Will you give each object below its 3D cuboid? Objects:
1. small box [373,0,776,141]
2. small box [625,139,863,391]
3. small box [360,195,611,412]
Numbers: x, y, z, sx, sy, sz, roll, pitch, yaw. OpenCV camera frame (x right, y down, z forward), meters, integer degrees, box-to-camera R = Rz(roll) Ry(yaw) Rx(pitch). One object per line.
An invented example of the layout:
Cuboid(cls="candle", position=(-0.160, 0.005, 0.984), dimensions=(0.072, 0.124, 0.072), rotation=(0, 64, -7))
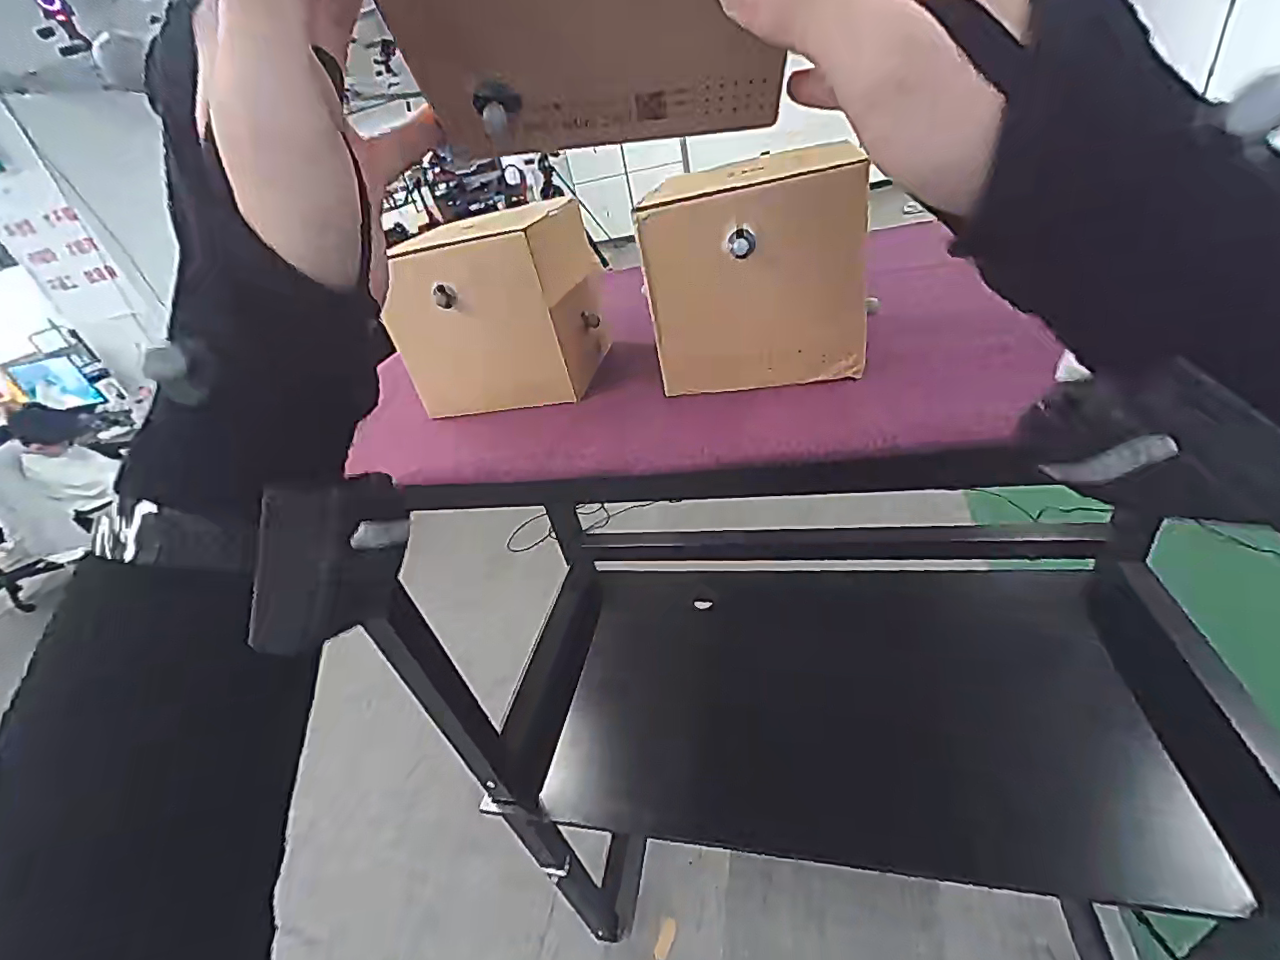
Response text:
Cuboid(cls="small box", position=(-0.029, -0.273, 0.224), dimensions=(0.168, 0.176, 0.179), rotation=(-3, 74, 6))
Cuboid(cls="small box", position=(0.105, -0.192, 0.498), dimensions=(0.179, 0.176, 0.168), rotation=(-3, 35, 18))
Cuboid(cls="small box", position=(-0.148, -0.185, 0.585), dimensions=(0.179, 0.176, 0.168), rotation=(-4, 36, 16))
